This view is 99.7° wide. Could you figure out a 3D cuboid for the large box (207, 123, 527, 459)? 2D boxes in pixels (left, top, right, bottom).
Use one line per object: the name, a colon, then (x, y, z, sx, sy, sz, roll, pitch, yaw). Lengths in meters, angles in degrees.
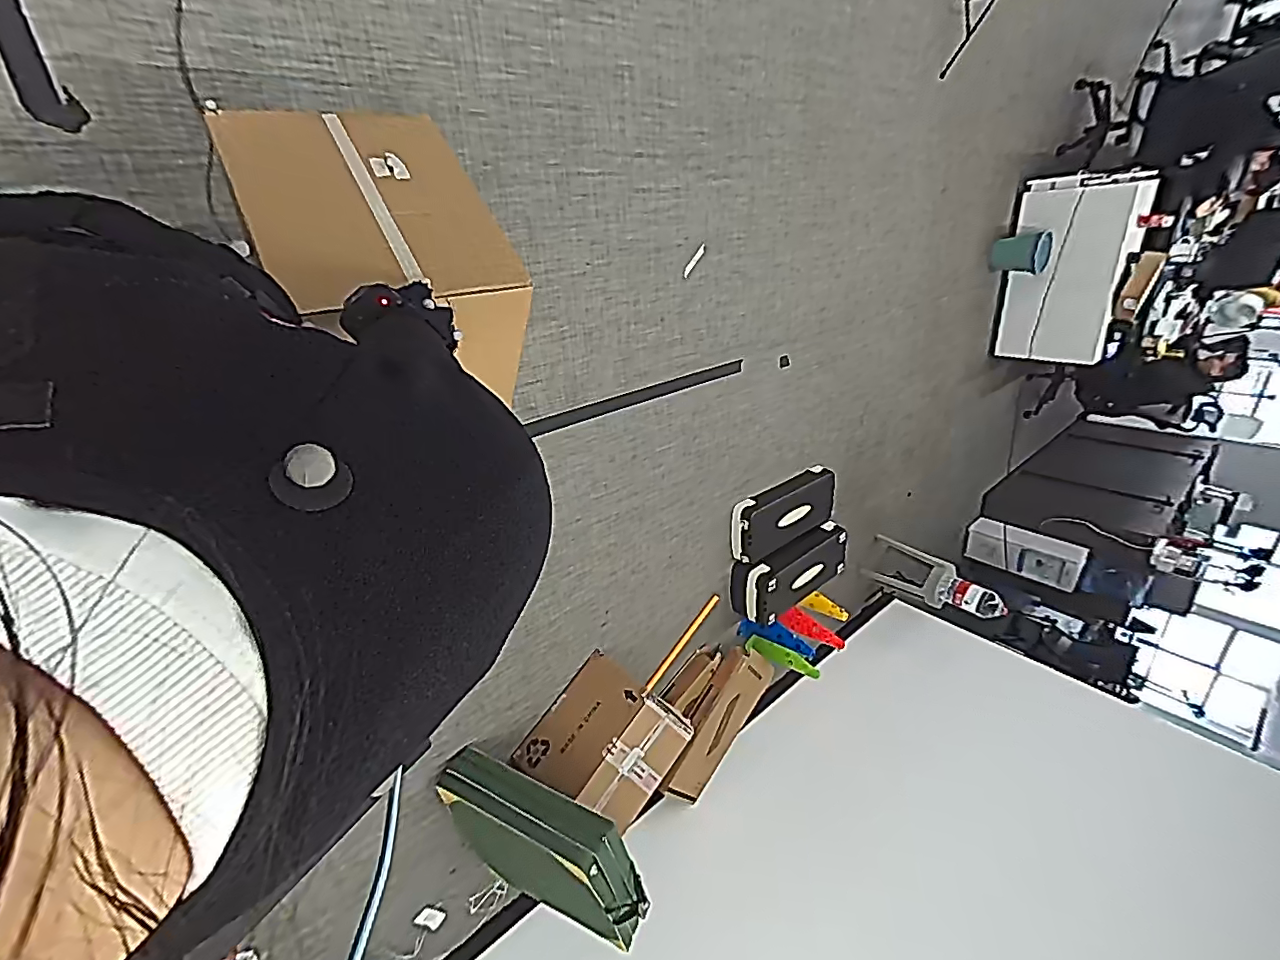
large box: (-0.428, -0.308, 0.889, 0.320, 0.408, 0.320, -20, 157, -32)
